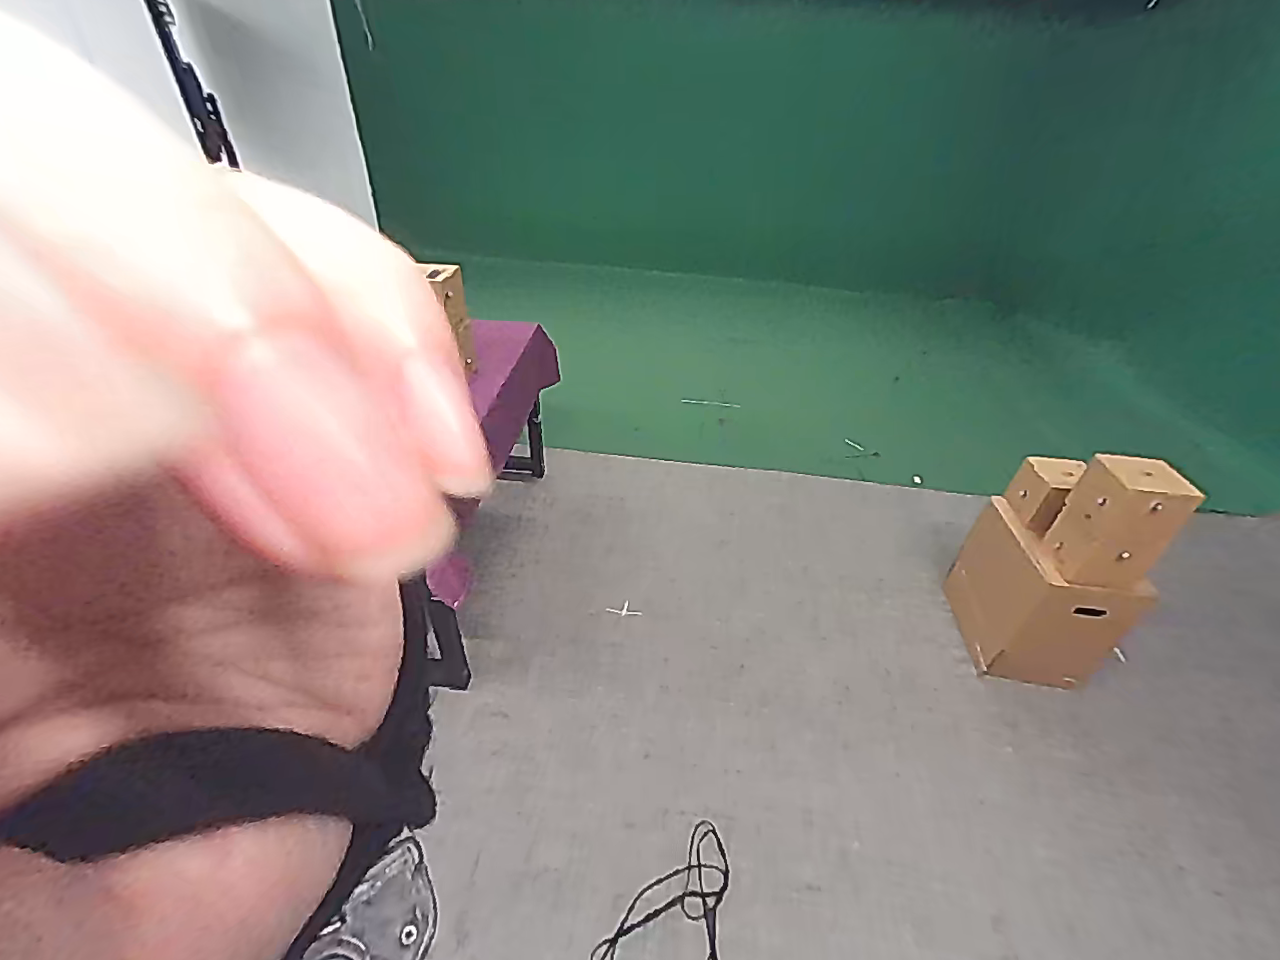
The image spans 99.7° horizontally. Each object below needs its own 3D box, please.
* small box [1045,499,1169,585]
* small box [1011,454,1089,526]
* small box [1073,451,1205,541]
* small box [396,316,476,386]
[{"bbox_3d":[1.303,0.176,1.526,0.179,0.176,0.168,6,36,4],"label":"small box"},{"bbox_3d":[1.315,0.037,1.711,0.179,0.176,0.168,5,39,5],"label":"small box"},{"bbox_3d":[1.298,0.044,1.429,0.179,0.176,0.168,7,36,5],"label":"small box"},{"bbox_3d":[-0.646,-0.412,1.737,0.179,0.176,0.168,5,37,4],"label":"small box"}]
